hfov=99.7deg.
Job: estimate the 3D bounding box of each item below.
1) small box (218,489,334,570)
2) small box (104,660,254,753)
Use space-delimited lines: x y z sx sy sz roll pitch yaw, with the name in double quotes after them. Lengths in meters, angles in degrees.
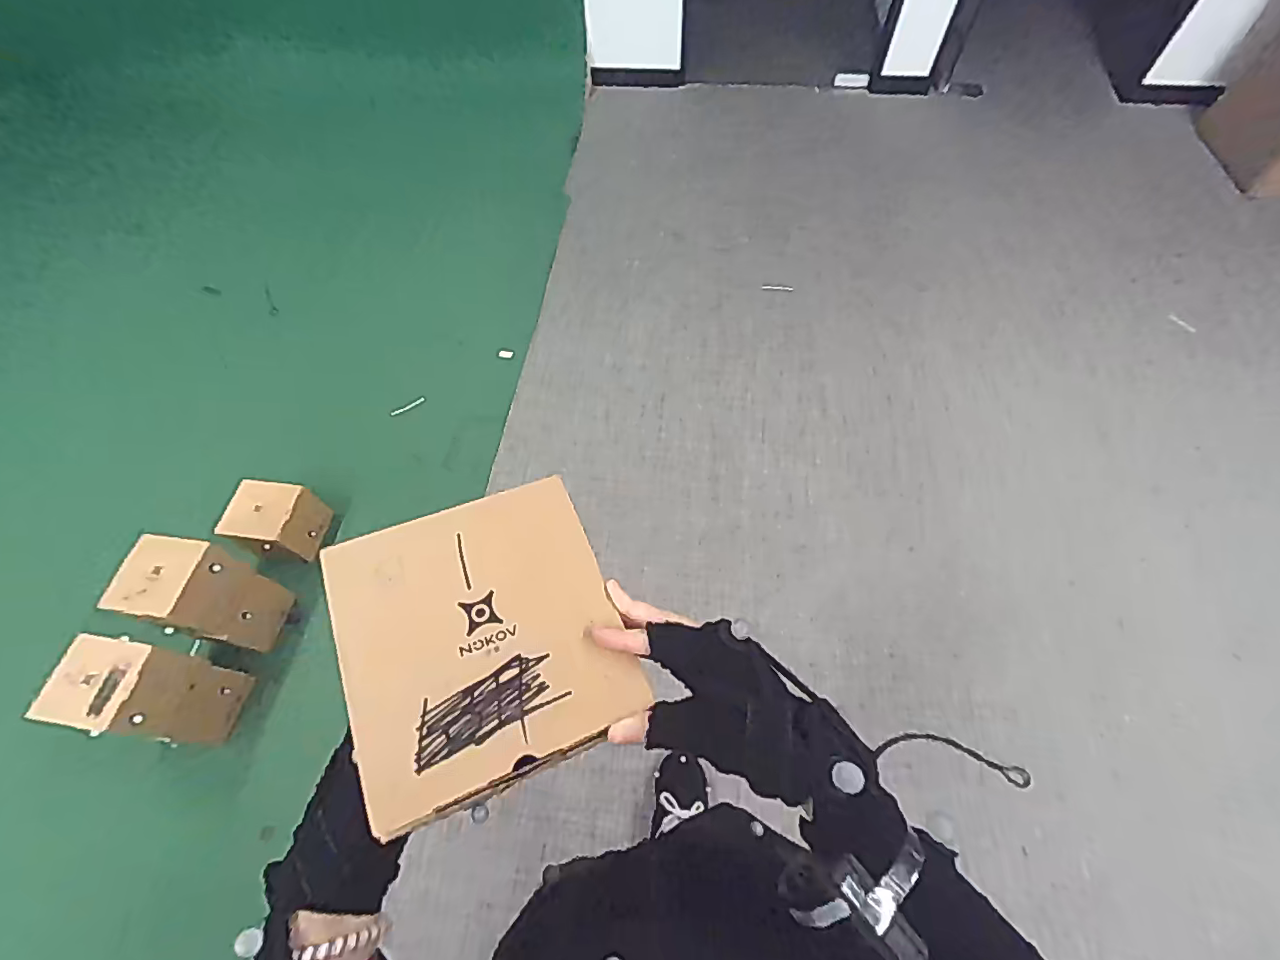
-1.010 0.144 1.516 0.179 0.176 0.168 6 60 4 "small box"
-1.079 0.543 1.286 0.179 0.176 0.168 9 60 7 "small box"
